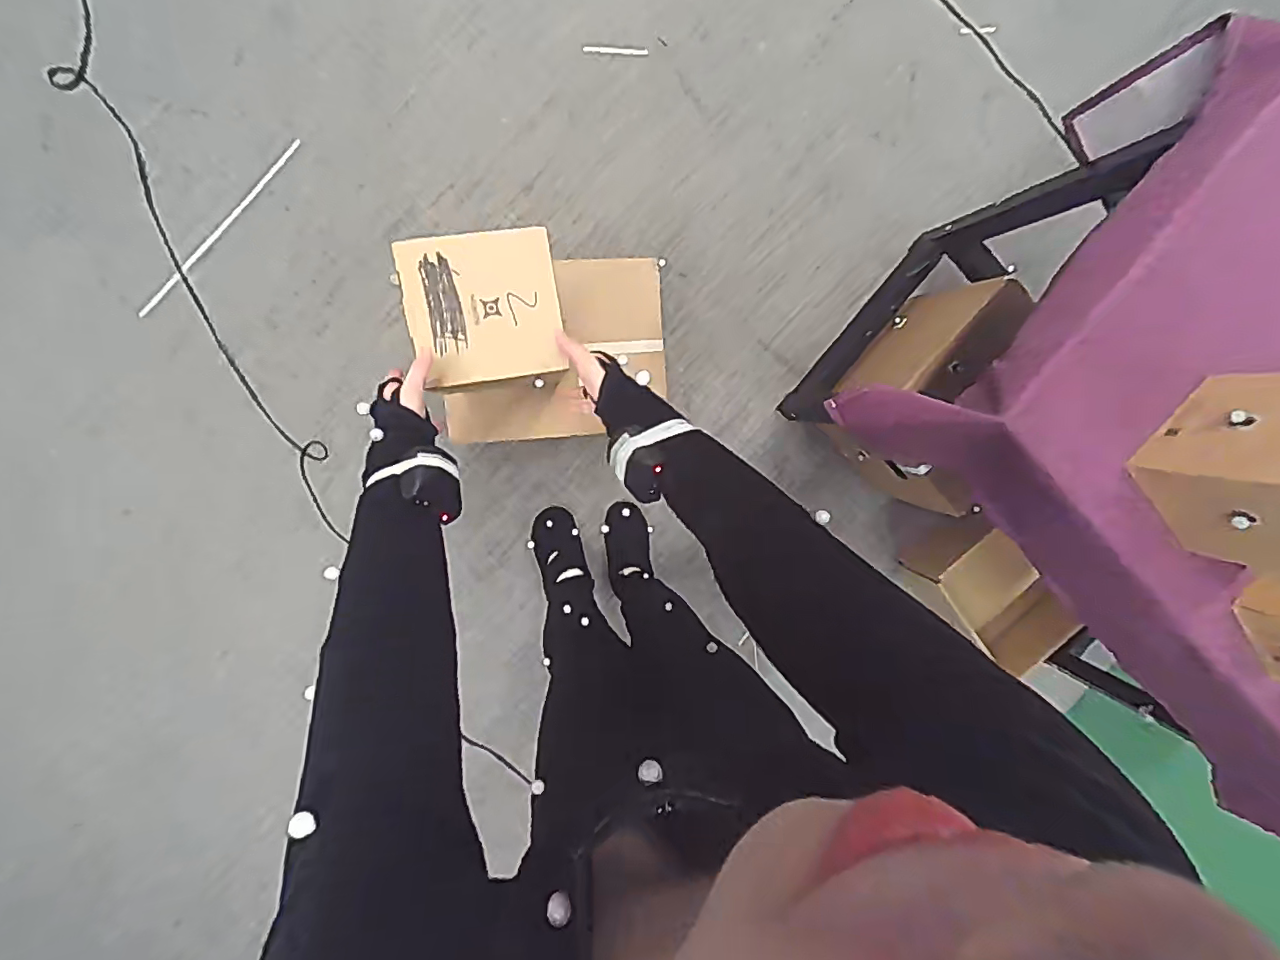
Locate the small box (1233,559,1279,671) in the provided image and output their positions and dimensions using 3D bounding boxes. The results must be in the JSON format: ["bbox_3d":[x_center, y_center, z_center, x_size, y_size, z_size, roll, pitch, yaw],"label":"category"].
[{"bbox_3d":[0.961,0.181,0.707,0.179,0.176,0.168,-41,104,0],"label":"small box"}]

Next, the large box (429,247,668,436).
[{"bbox_3d":[-0.180,-0.274,1.113,0.408,0.320,0.320,-5,102,-10],"label":"large box"}]

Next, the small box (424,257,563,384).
[{"bbox_3d":[-0.222,-0.245,0.858,0.179,0.176,0.168,-9,100,-8],"label":"small box"}]

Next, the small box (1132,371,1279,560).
[{"bbox_3d":[0.748,-0.014,0.634,0.179,0.176,0.168,44,91,-13],"label":"small box"}]
